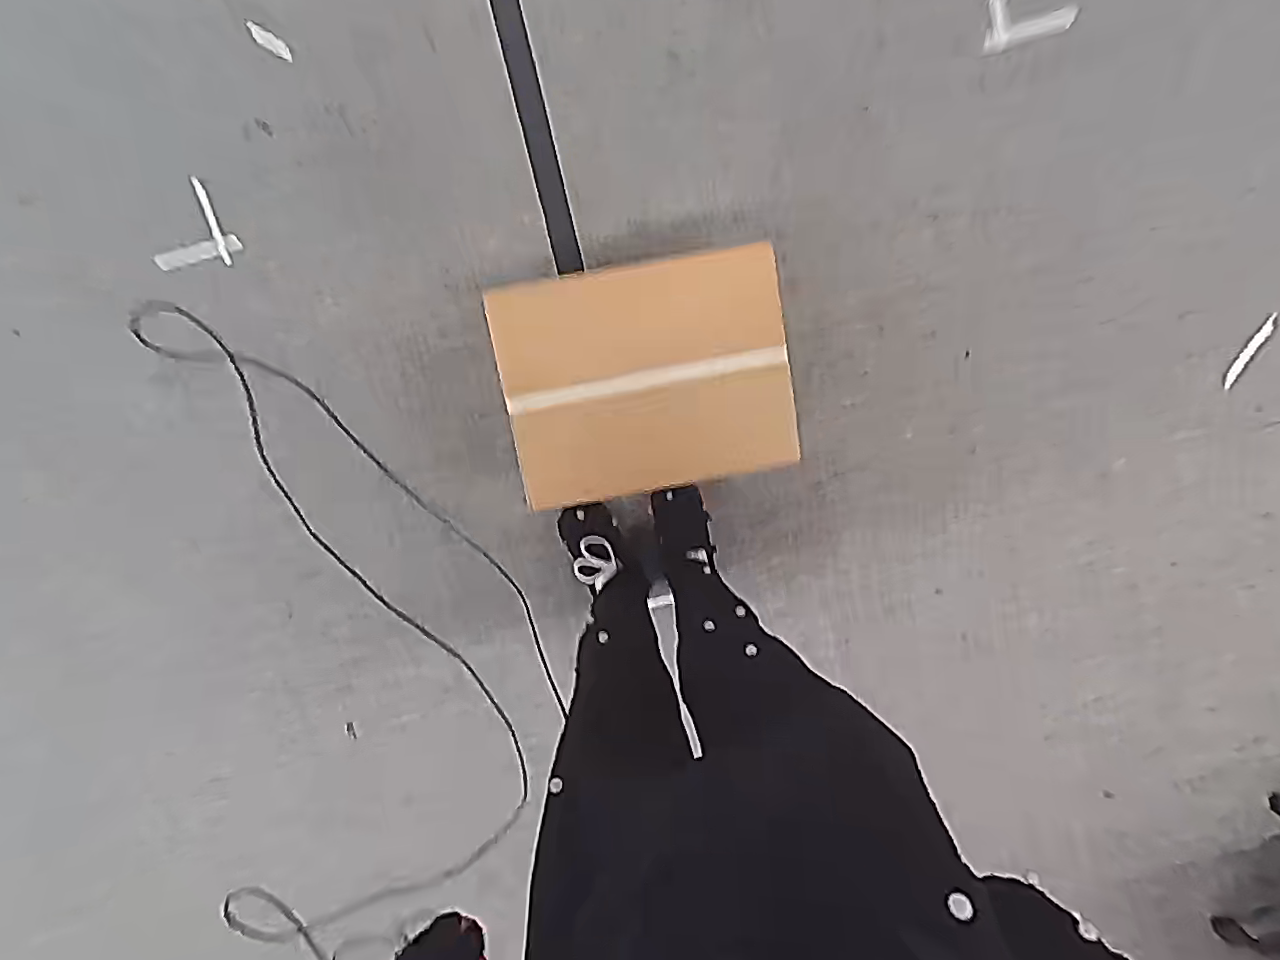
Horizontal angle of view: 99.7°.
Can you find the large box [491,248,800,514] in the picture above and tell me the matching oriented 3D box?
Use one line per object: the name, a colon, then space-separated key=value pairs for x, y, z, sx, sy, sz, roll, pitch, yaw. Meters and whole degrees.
large box: x=0.007 y=-0.159 z=0.914 sx=0.408 sy=0.320 sz=0.320 roll=-11 pitch=101 yaw=-1
